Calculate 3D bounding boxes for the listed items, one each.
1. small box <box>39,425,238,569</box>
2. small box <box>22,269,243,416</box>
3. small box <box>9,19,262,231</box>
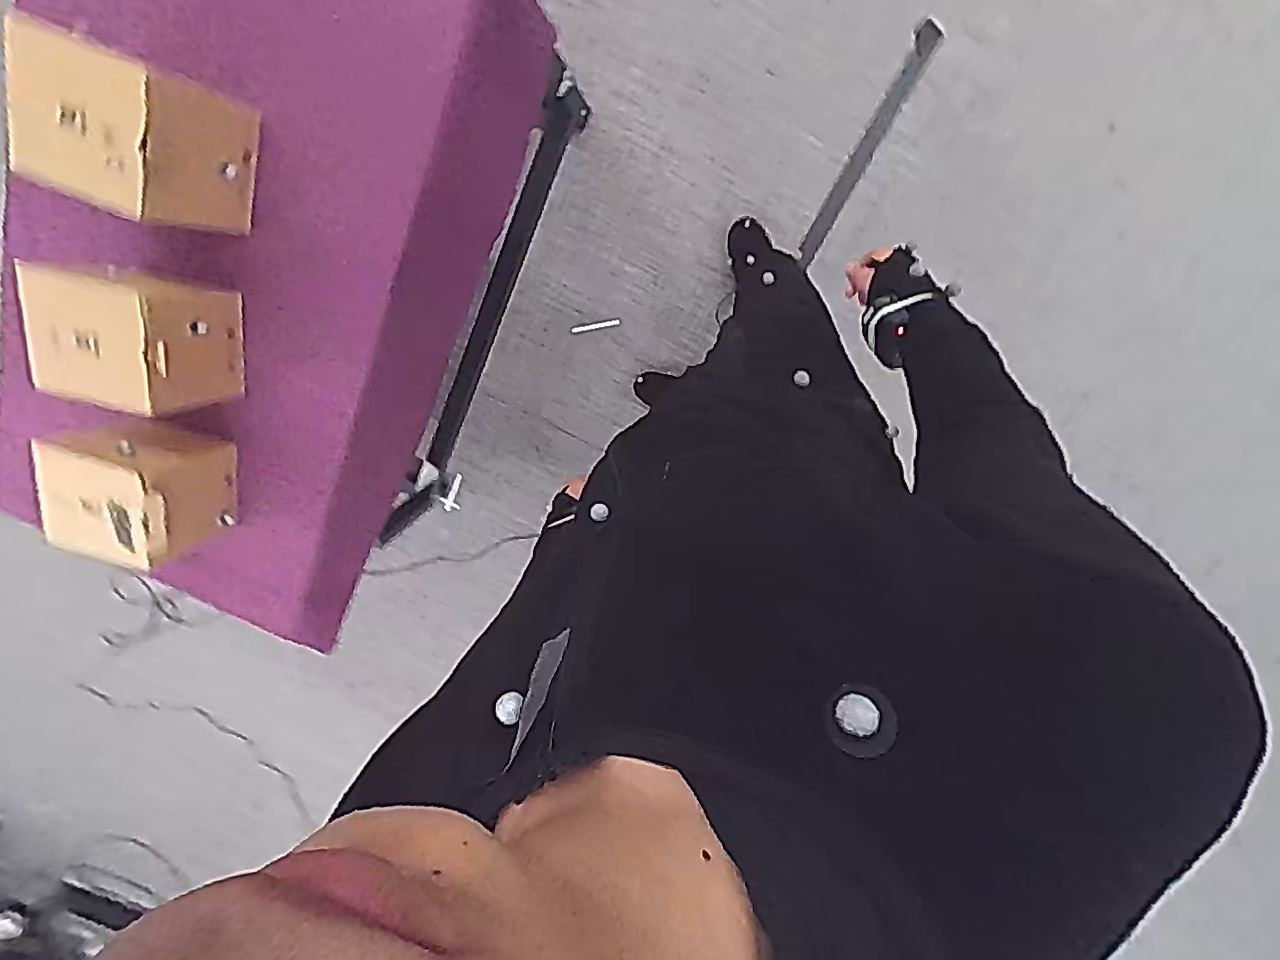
[{"bbox_3d":[-0.800,0.018,0.886,0.179,0.176,0.168,15,109,1],"label":"small box"},{"bbox_3d":[-0.730,-0.208,0.804,0.179,0.176,0.168,13,109,2],"label":"small box"},{"bbox_3d":[-0.651,-0.445,0.712,0.179,0.176,0.168,21,110,-2],"label":"small box"}]
